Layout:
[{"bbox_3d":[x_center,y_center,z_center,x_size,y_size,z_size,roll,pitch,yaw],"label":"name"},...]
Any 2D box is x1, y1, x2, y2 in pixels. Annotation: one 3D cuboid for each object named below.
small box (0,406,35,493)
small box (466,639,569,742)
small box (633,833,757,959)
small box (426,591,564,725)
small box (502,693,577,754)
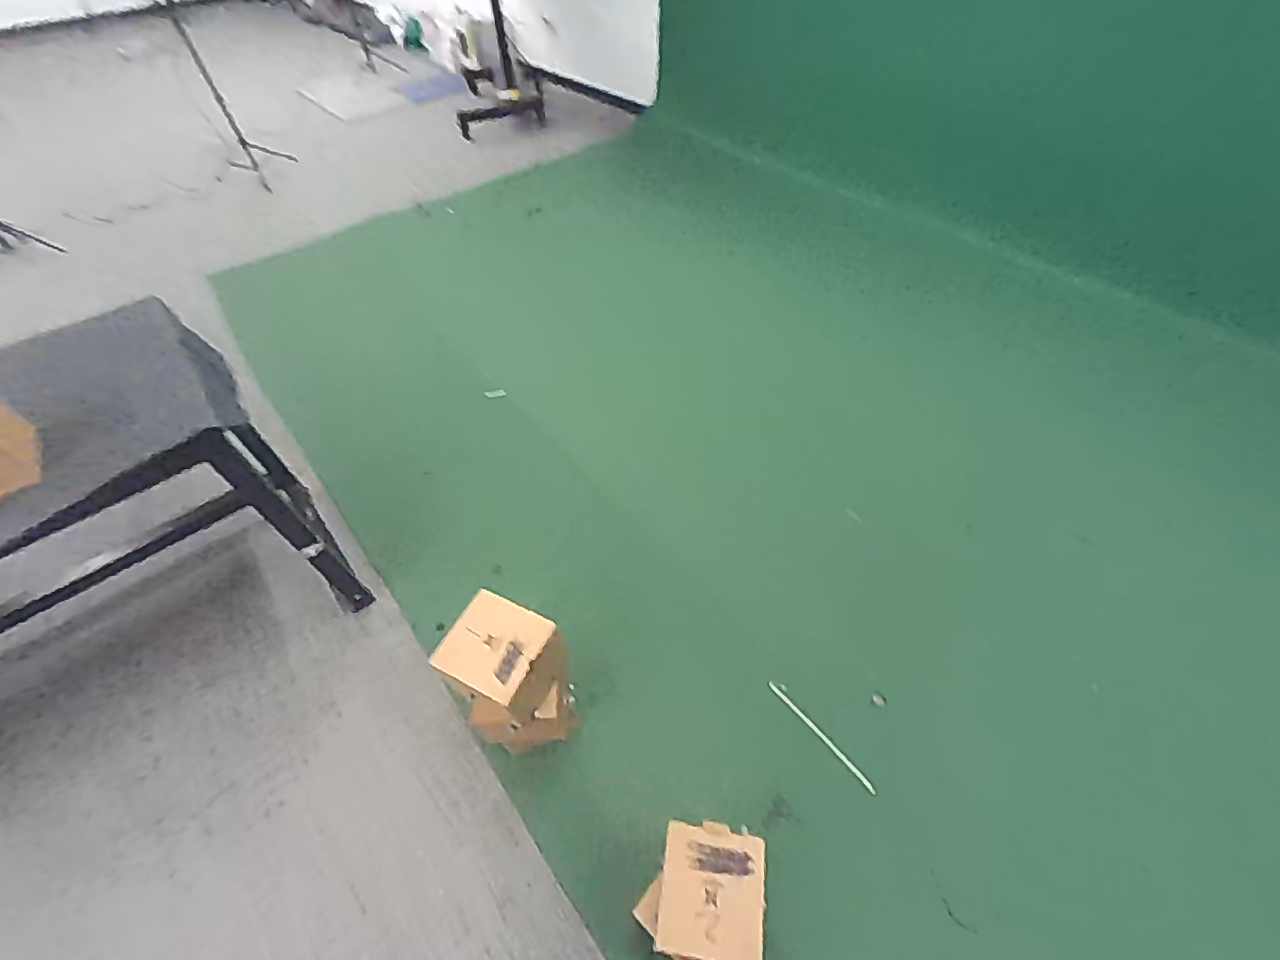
[{"bbox_3d":[-1.155,-0.060,0.880,0.168,0.176,0.179,-34,56,-23],"label":"small box"},{"bbox_3d":[-0.254,0.454,1.161,0.179,0.176,0.168,-3,53,-1],"label":"small box"},{"bbox_3d":[0.100,0.834,1.051,0.168,0.176,0.179,34,59,25],"label":"small box"},{"bbox_3d":[-0.264,0.347,1.037,0.179,0.176,0.168,20,56,18],"label":"small box"},{"bbox_3d":[-0.265,0.533,1.306,0.179,0.176,0.168,-20,54,-14],"label":"small box"}]
